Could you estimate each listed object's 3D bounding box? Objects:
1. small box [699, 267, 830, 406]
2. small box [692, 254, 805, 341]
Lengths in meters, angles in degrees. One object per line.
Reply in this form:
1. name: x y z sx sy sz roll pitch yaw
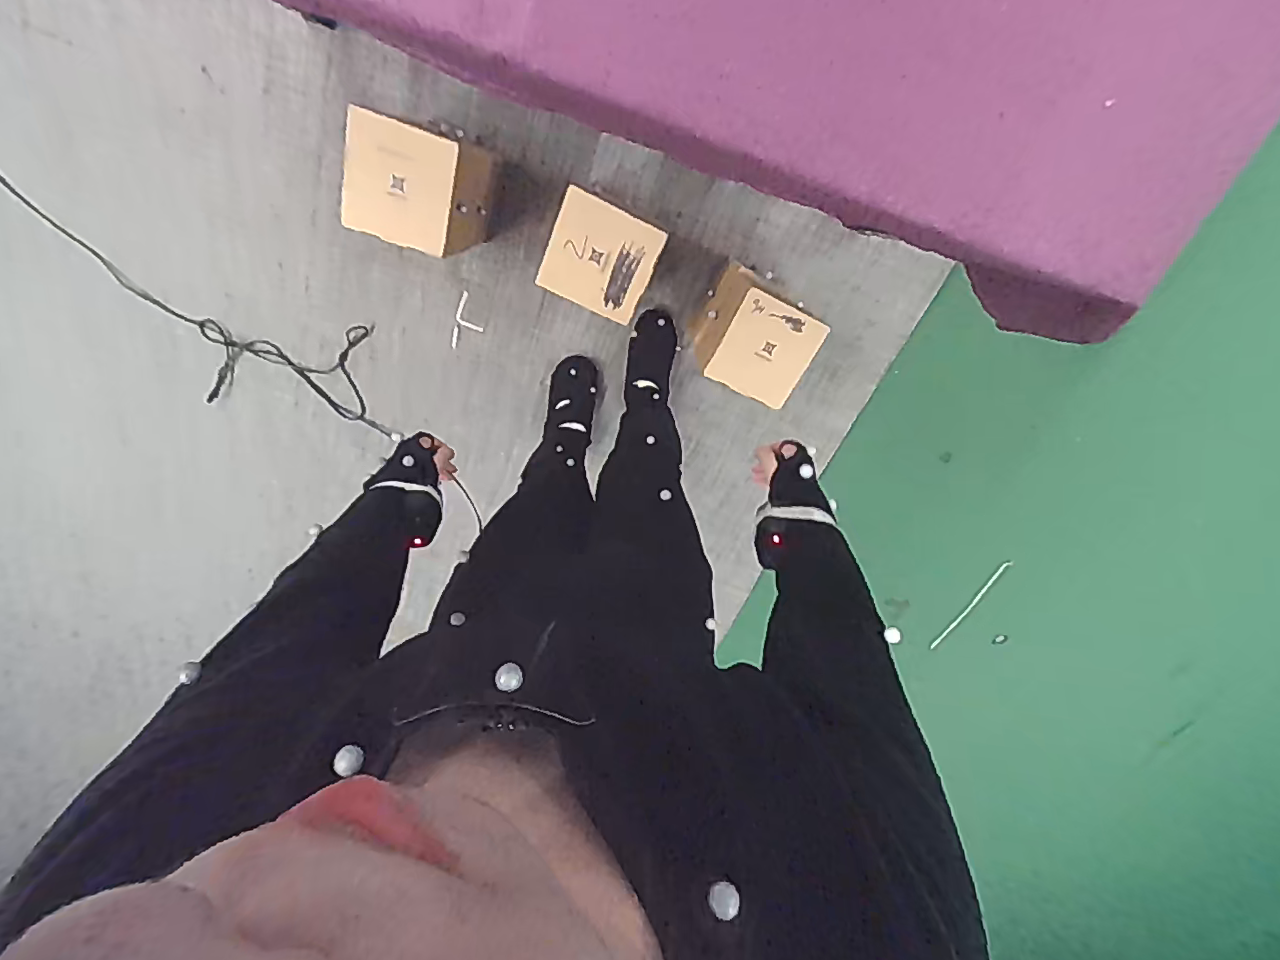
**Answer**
1. small box: 0.223 -0.276 1.029 0.168 0.176 0.179 23 118 -14
2. small box: 0.225 -0.363 1.171 0.168 0.176 0.179 27 115 -14
